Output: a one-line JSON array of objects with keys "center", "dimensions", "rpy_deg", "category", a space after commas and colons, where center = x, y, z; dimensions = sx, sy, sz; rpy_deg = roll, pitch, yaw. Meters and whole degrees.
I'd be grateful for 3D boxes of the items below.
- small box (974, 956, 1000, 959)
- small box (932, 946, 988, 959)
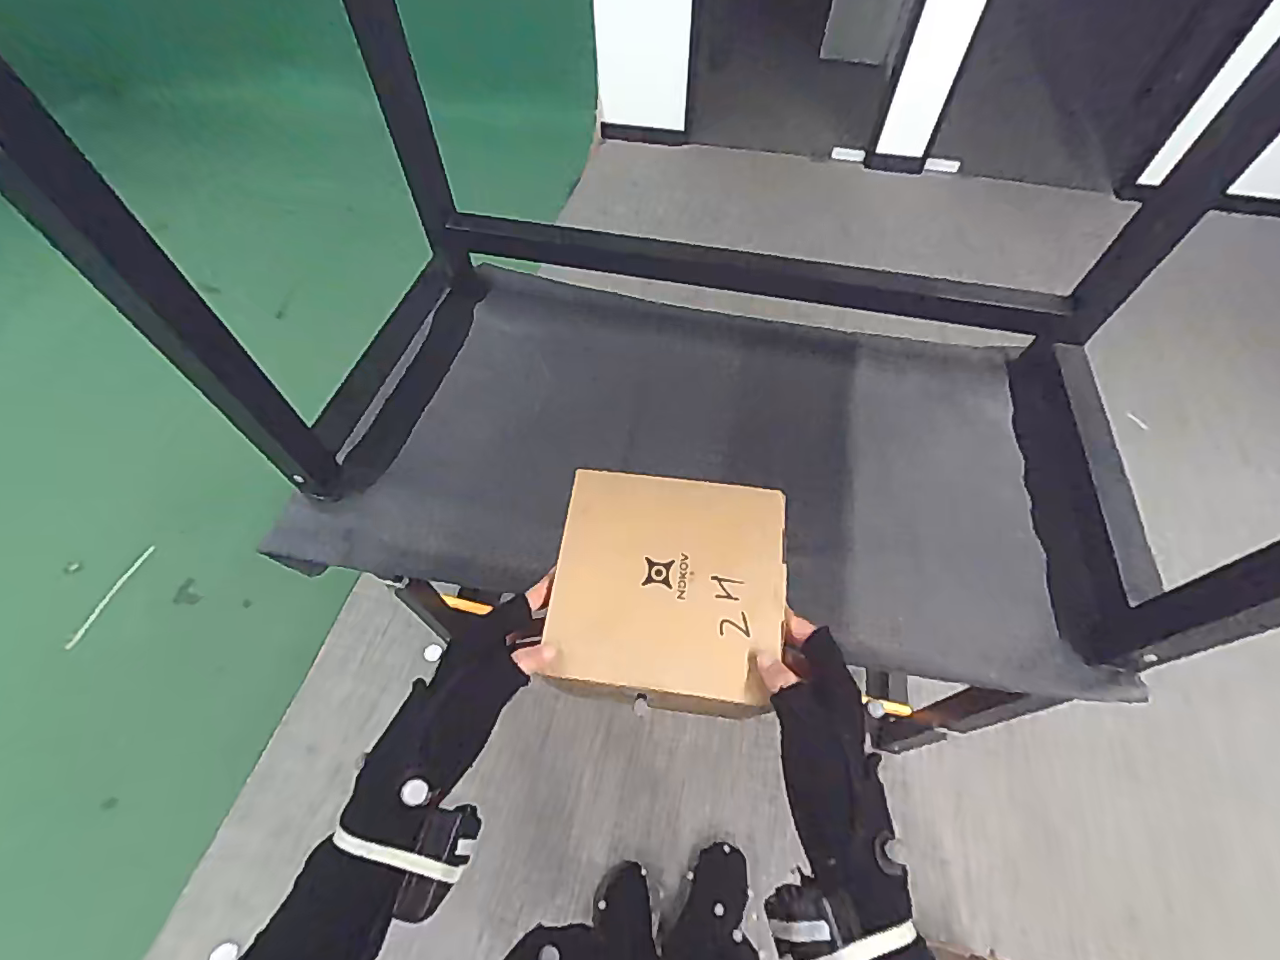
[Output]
[{"center": [0.576, 0.781, 0.726], "dimensions": [0.168, 0.176, 0.179], "rpy_deg": [11, 57, 8], "category": "small box"}, {"center": [0.588, 0.879, 0.857], "dimensions": [0.168, 0.176, 0.179], "rpy_deg": [9, 56, 6], "category": "small box"}]
